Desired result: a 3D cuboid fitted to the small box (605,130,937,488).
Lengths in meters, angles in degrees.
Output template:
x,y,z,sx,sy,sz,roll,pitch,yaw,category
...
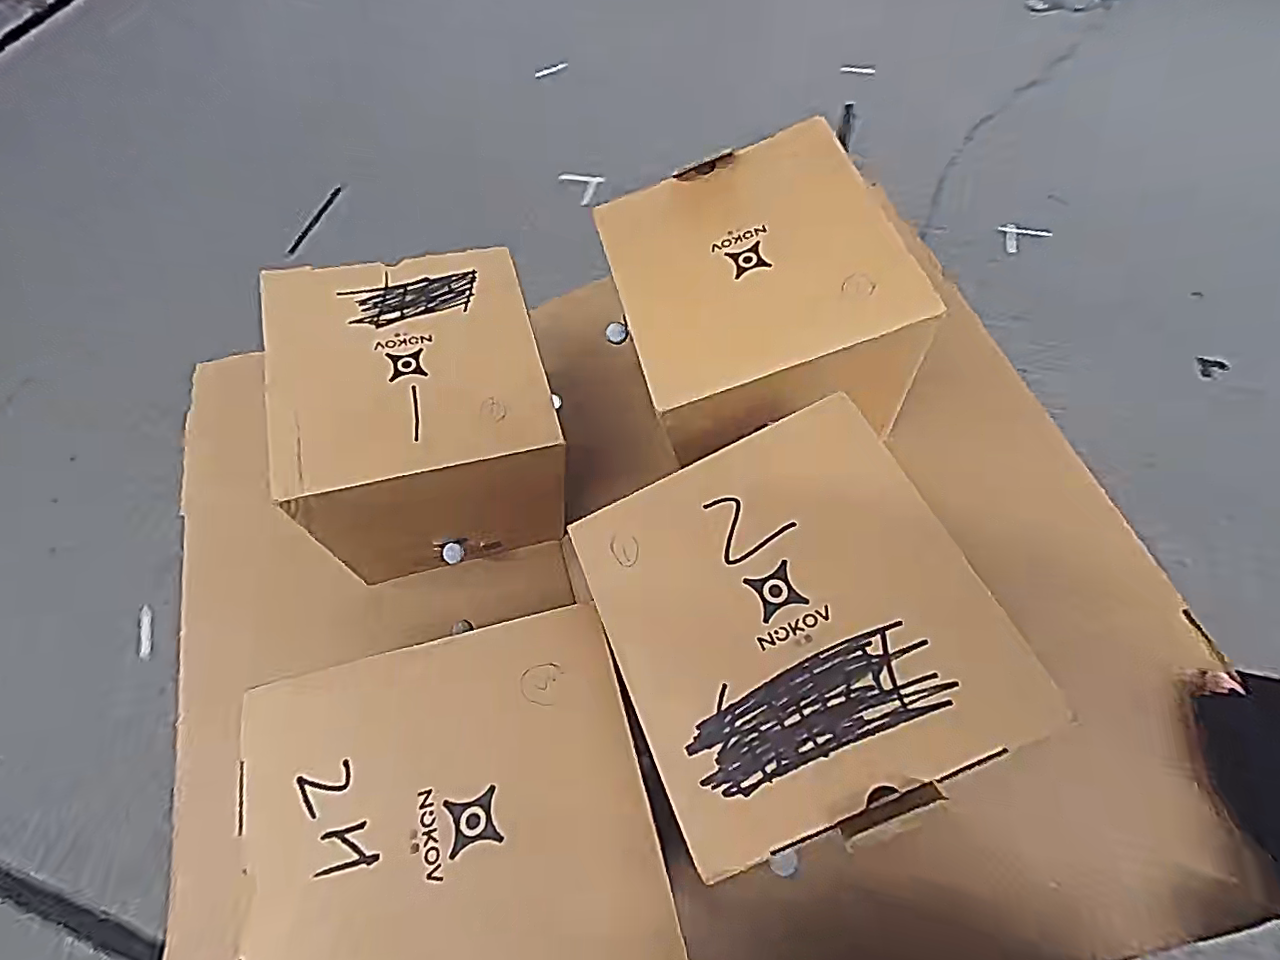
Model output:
x,y,z,sx,sy,sz,roll,pitch,yaw,category
0.089,-0.108,0.412,0.168,0.176,0.179,-18,64,6,small box
